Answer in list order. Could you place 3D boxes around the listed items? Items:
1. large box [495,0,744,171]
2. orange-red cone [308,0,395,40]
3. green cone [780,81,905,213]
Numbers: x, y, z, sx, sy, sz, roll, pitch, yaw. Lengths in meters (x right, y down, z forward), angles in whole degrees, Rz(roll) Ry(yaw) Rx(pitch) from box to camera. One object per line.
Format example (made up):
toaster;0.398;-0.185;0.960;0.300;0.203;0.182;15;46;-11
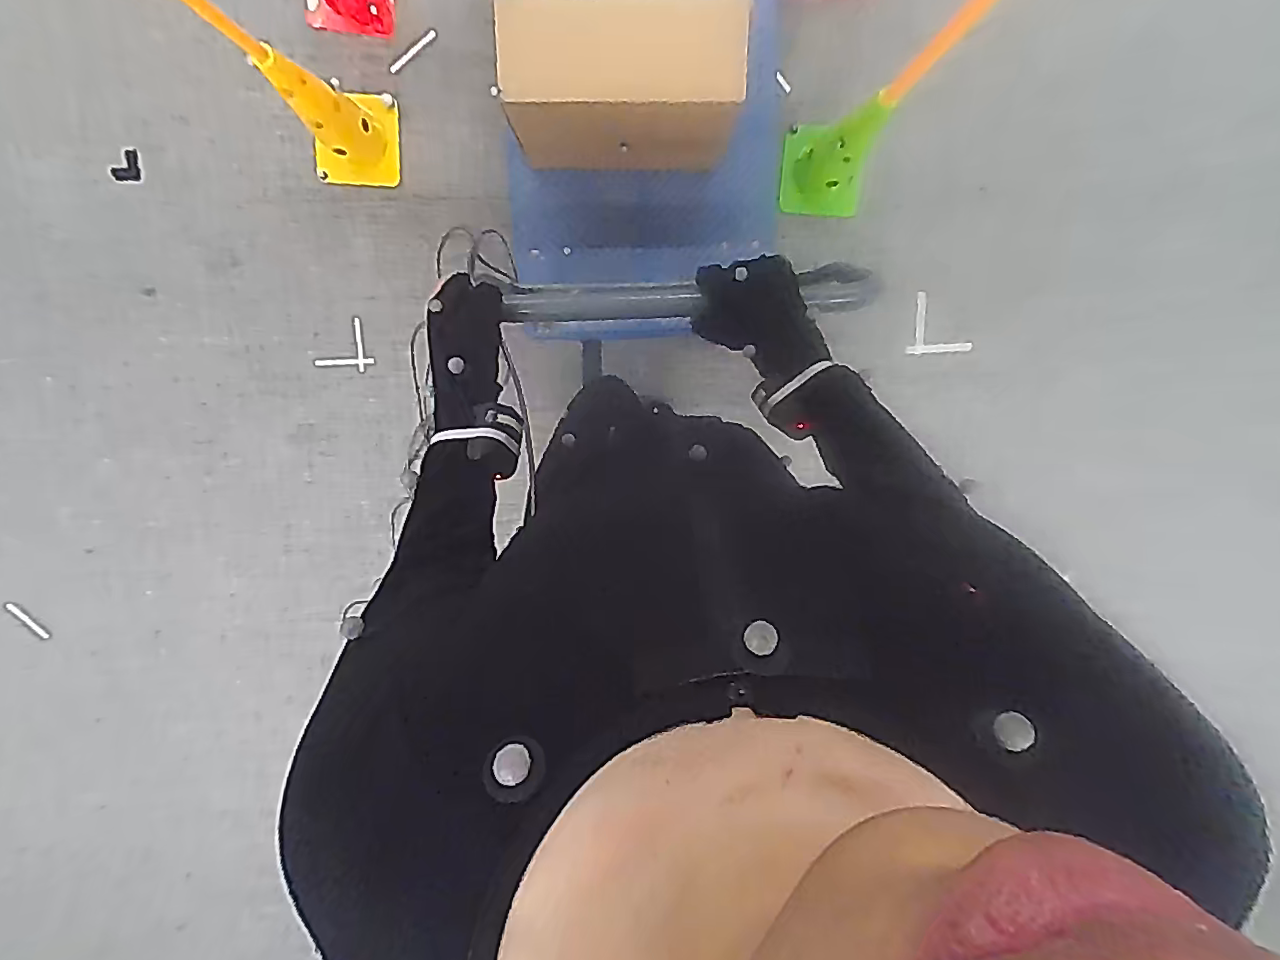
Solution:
large box;-0.032;-0.793;1.003;0.408;0.320;0.320;-1;102;0
orange-red cone;-0.660;-1.113;1.082;0.198;0.360;0.199;6;99;-3
green cone;0.455;-0.738;1.164;0.202;0.368;0.200;3;101;-2
